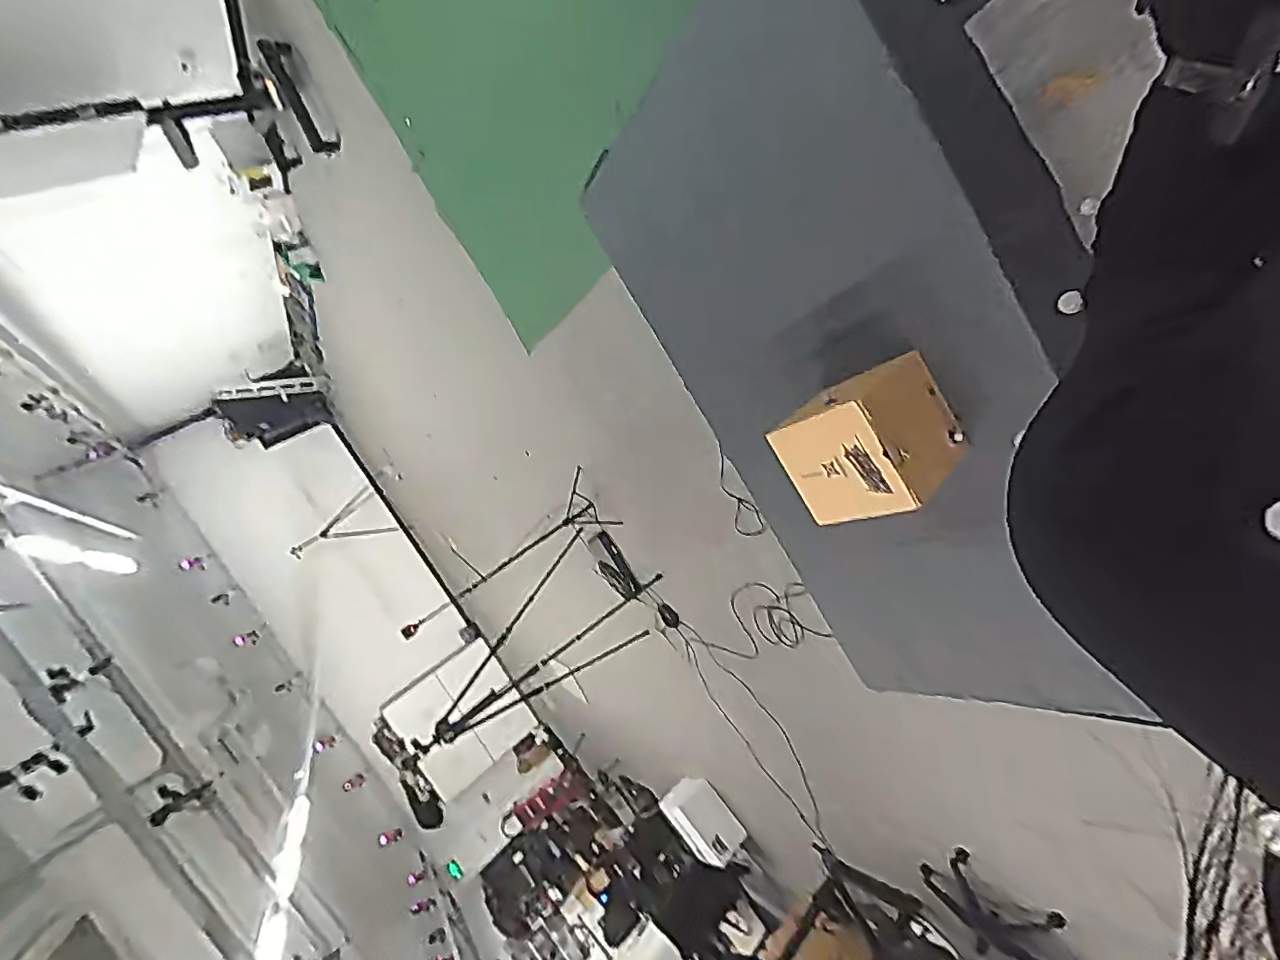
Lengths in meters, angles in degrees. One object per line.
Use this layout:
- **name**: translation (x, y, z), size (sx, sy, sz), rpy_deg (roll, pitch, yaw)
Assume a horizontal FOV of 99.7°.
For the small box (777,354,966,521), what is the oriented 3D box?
- **small box**: translation (0.347, -0.062, 0.802), size (0.168, 0.176, 0.179), rpy_deg (58, 151, -4)
